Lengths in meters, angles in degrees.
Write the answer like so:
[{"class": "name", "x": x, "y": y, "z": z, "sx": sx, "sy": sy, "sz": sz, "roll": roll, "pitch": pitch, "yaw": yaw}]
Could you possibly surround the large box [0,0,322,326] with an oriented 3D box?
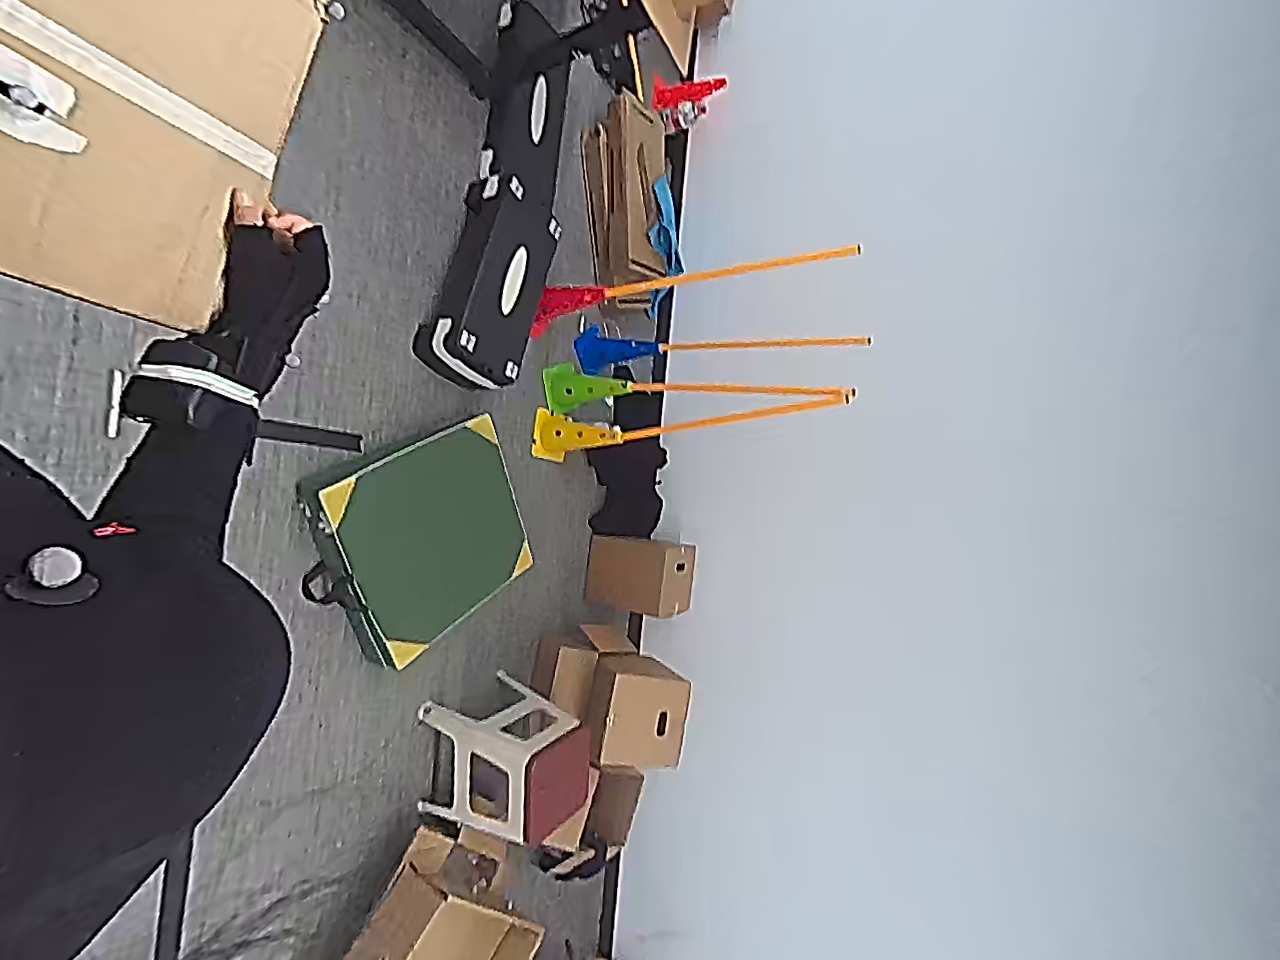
[{"class": "large box", "x": -0.548, "y": -0.348, "z": 0.398, "sx": 0.408, "sy": 0.320, "sz": 0.320, "roll": 18, "pitch": 92, "yaw": -55}]
